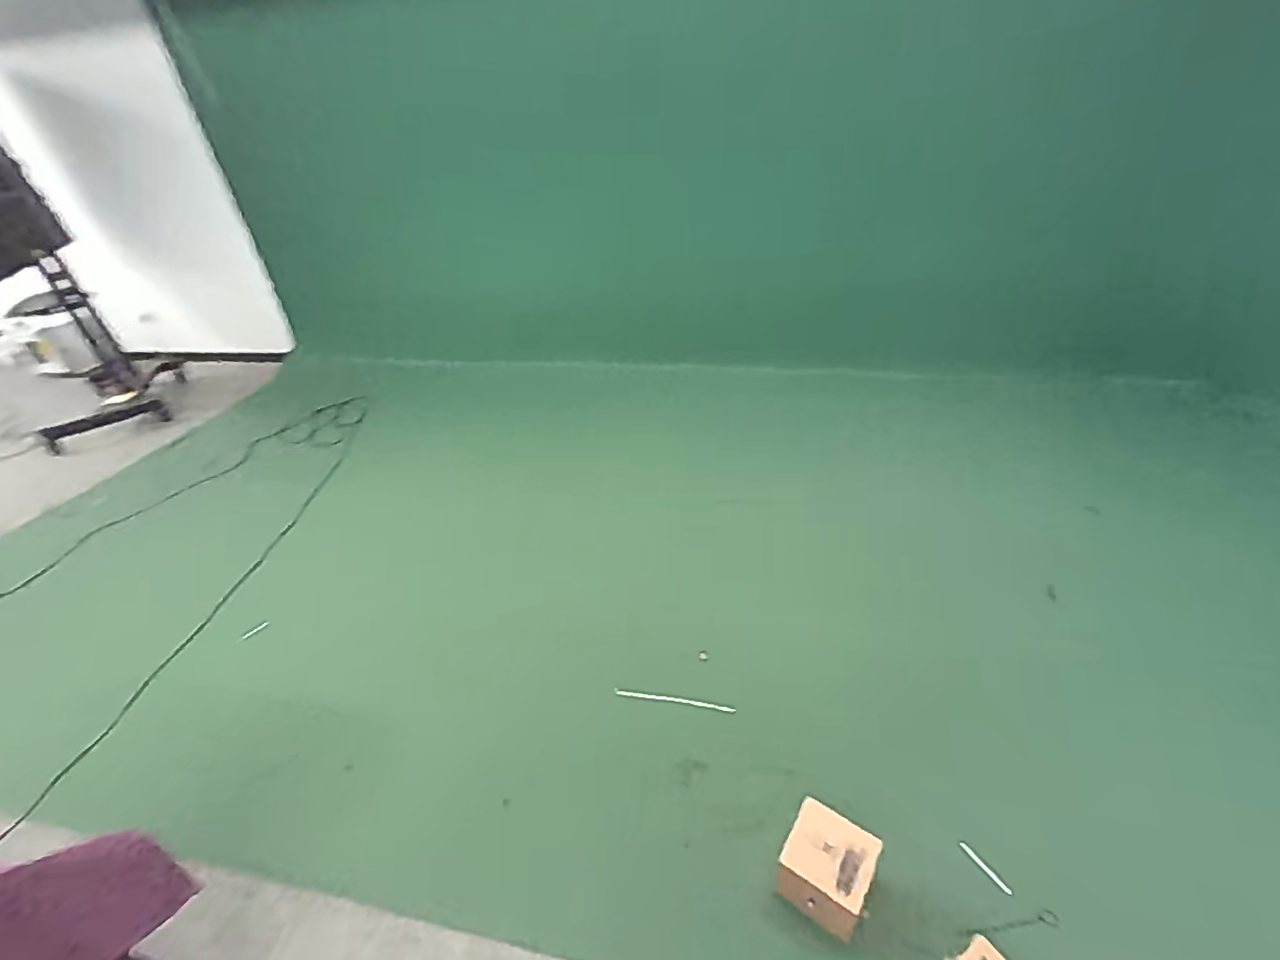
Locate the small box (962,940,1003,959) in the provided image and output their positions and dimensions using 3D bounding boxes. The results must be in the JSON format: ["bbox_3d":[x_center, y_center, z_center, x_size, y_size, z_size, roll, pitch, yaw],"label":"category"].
[{"bbox_3d":[0.644,1.019,0.996,0.168,0.176,0.179,-23,40,-24],"label":"small box"}]
